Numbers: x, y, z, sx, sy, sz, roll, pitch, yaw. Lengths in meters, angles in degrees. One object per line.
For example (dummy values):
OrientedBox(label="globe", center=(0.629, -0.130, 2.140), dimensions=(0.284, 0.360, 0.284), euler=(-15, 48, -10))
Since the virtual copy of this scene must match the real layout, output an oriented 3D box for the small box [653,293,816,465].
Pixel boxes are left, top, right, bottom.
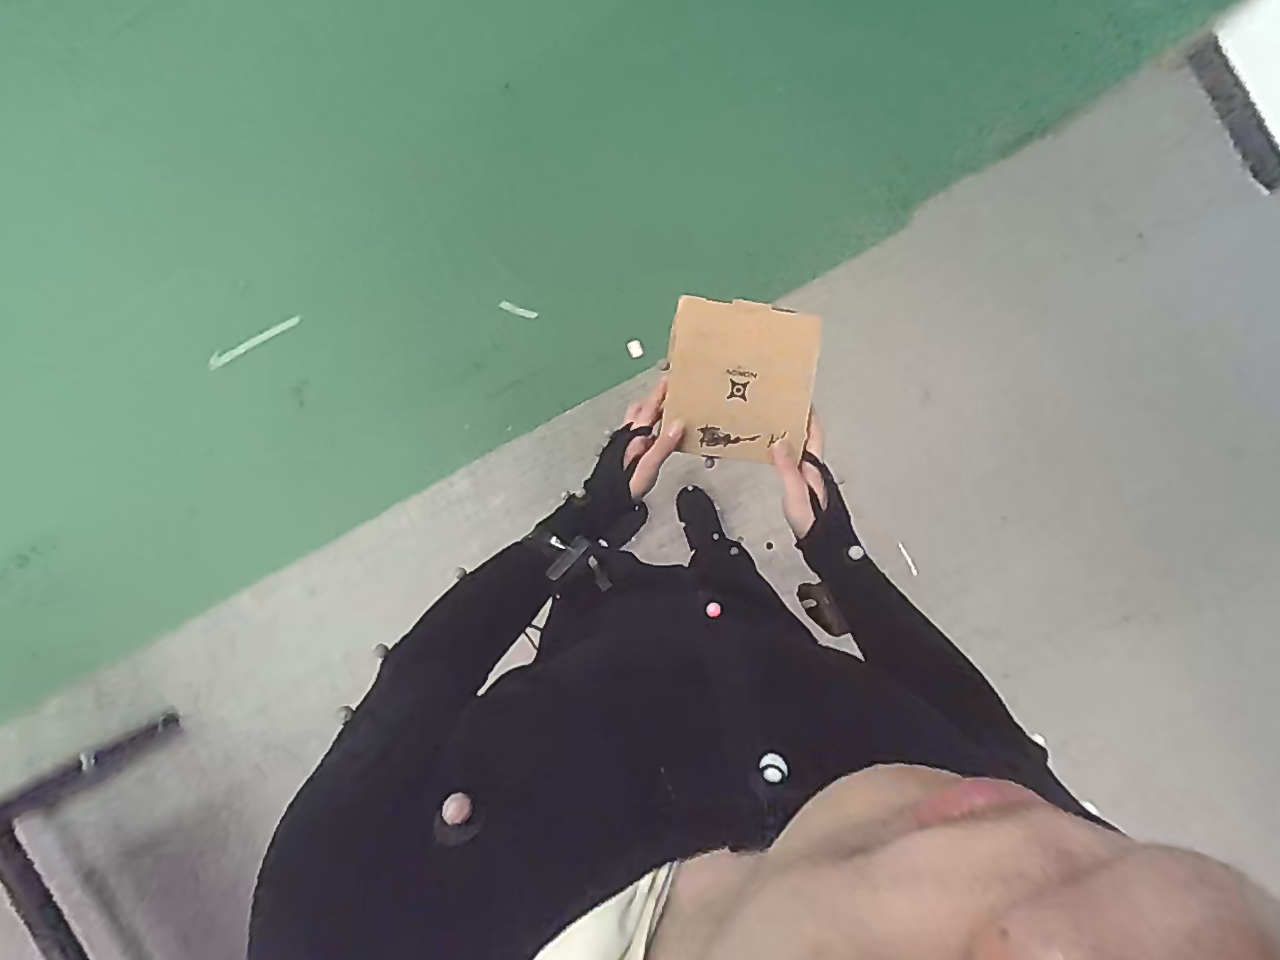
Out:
OrientedBox(label="small box", center=(0.107, -0.120, 0.691), dimensions=(0.168, 0.176, 0.179), euler=(7, 96, 1))
